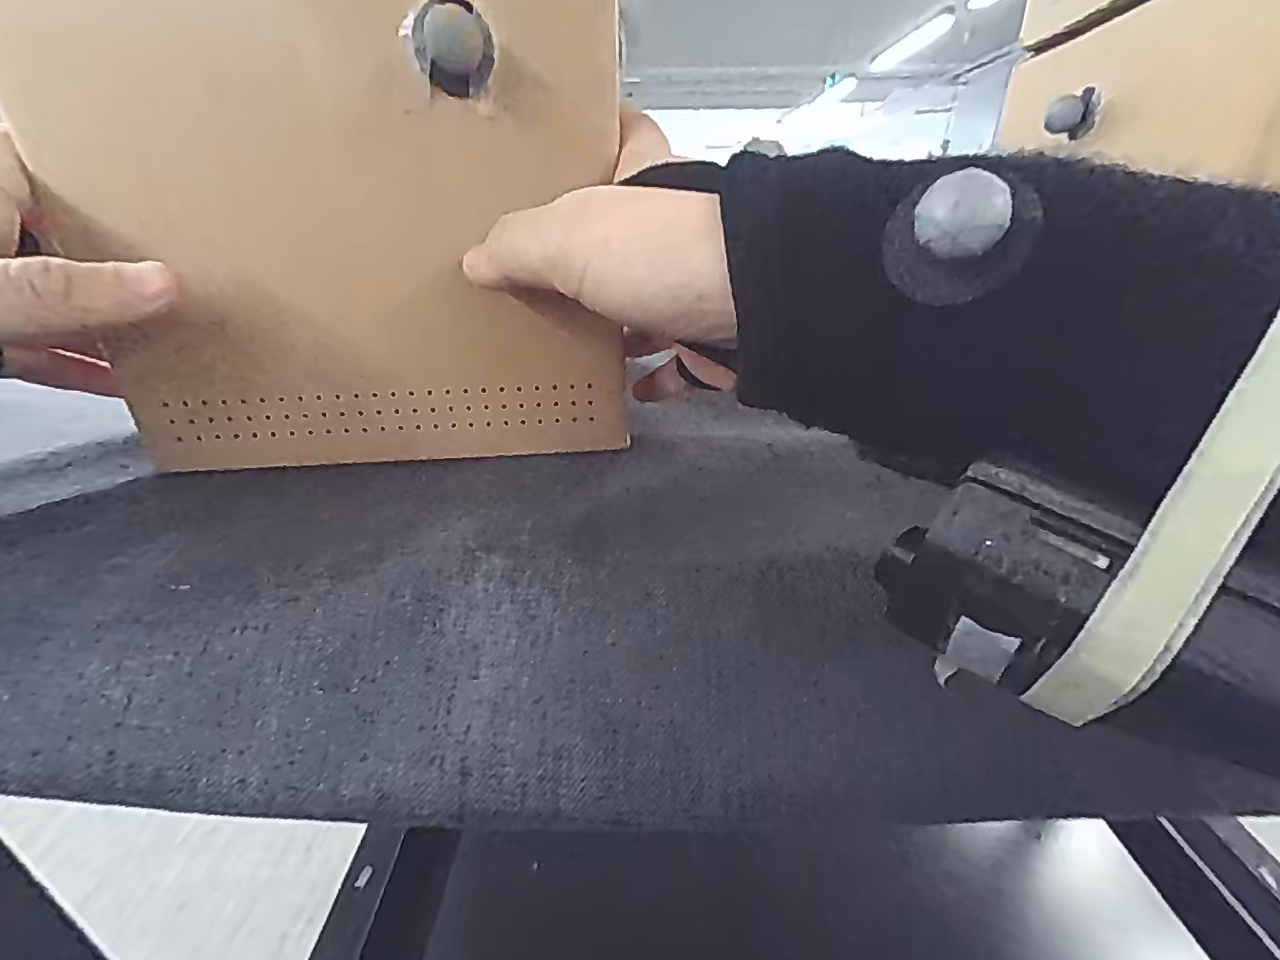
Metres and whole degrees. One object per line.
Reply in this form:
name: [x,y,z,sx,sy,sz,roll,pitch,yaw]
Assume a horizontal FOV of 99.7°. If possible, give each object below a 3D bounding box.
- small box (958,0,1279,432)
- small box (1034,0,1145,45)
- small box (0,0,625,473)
small box: [0.288,-0.123,0.258,0.168,0.176,0.179,1,24,3]
small box: [0.283,-0.269,0.180,0.179,0.176,0.168,-1,24,4]
small box: [-0.097,-0.112,0.242,0.179,0.176,0.168,-4,24,-4]
